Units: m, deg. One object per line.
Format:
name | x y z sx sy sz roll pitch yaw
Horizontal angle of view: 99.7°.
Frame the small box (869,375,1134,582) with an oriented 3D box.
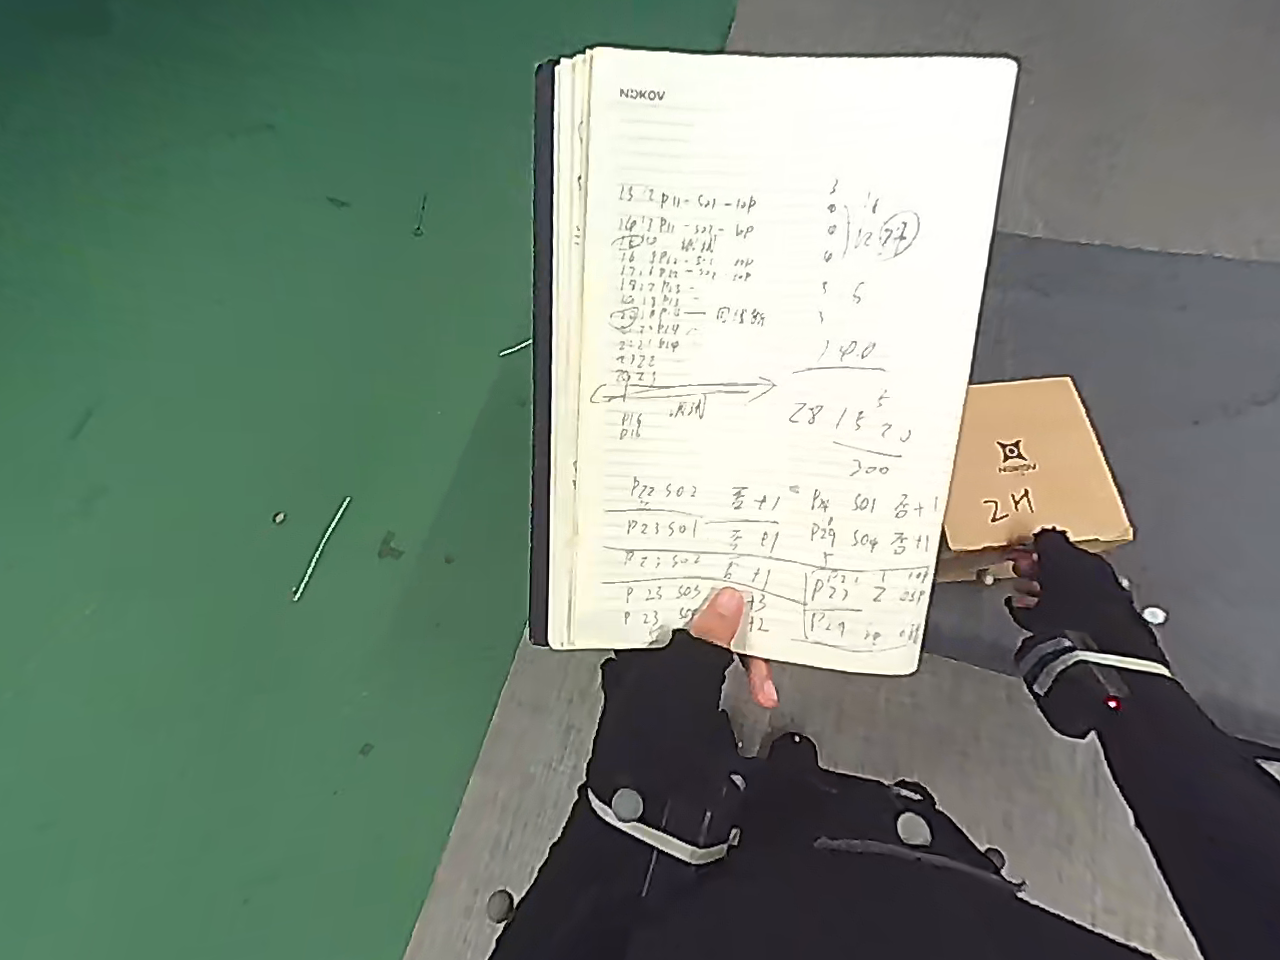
small box | 0.375 0.007 0.604 0.168 0.176 0.179 -5 68 4
